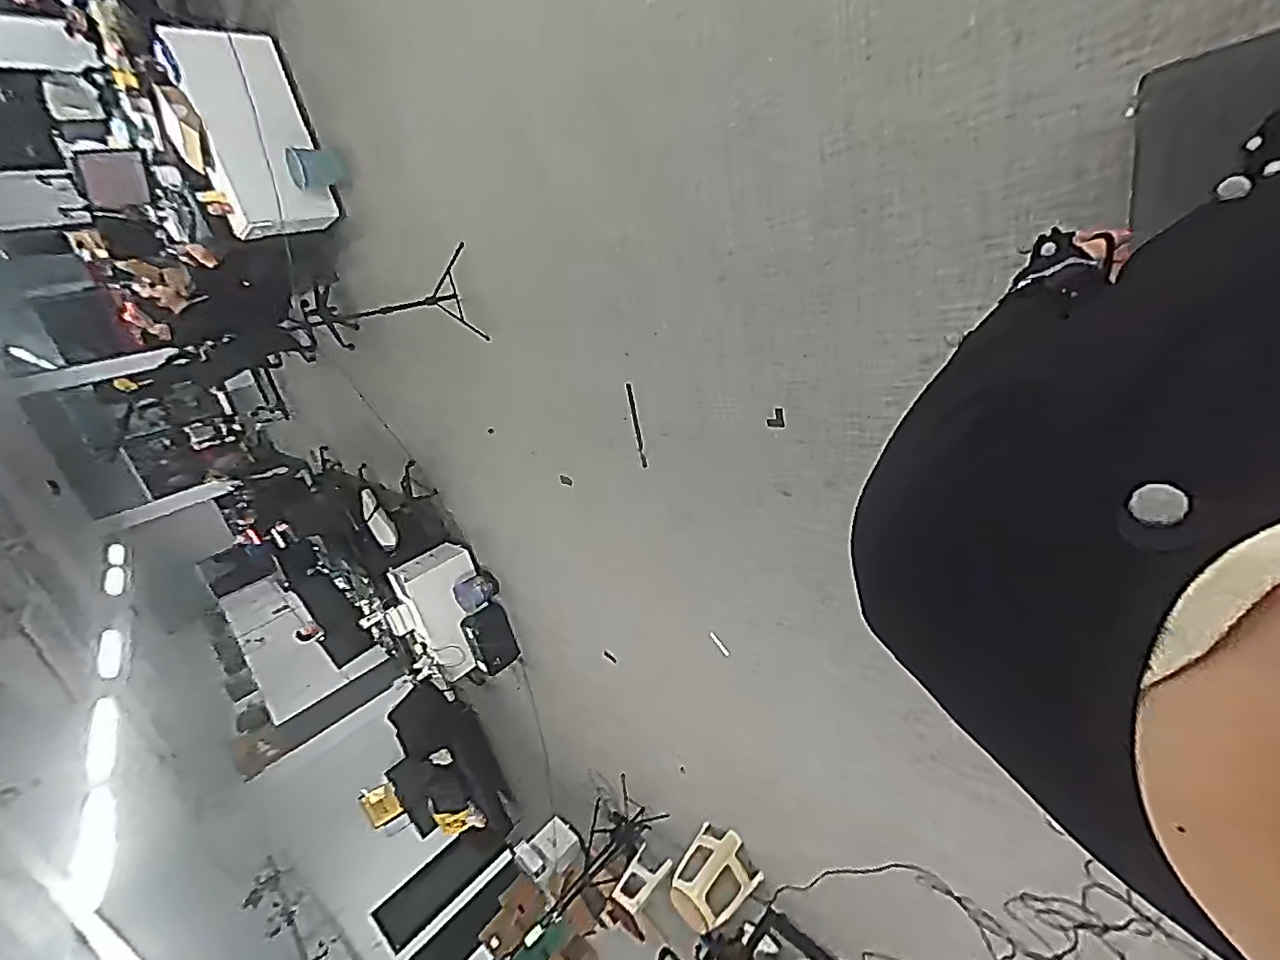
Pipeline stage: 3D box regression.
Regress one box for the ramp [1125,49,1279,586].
[{"bbox_3d":[1.168,-0.197,0.914,0.509,0.206,0.991,6,117,46],"label":"ramp"}]
